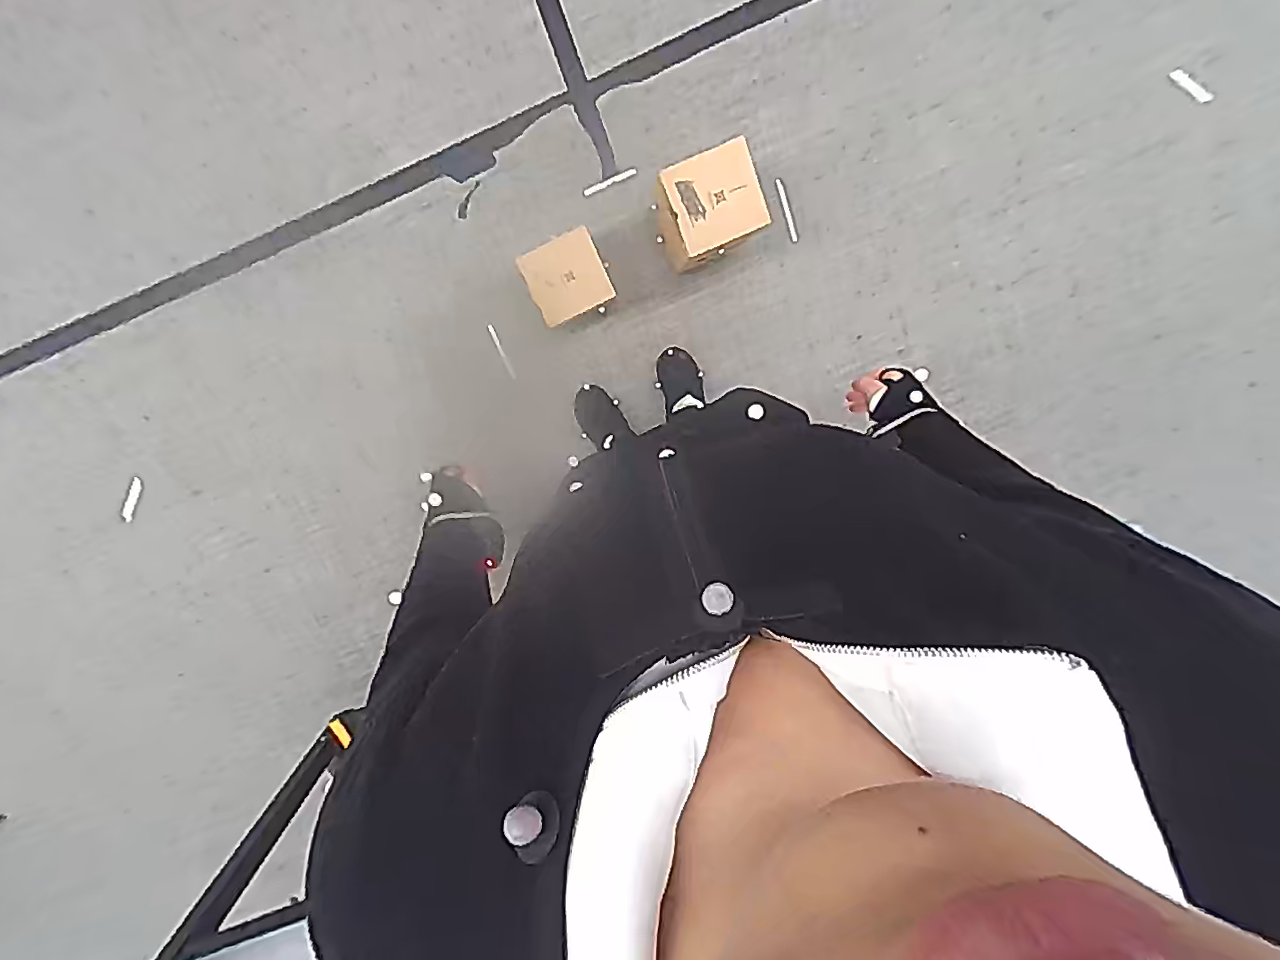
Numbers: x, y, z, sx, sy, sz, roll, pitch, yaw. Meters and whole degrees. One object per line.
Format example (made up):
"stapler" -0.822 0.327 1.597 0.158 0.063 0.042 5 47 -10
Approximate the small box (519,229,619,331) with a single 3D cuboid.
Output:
"small box" -0.163 -0.470 1.287 0.179 0.176 0.168 -25 105 5

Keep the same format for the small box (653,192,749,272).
"small box" 0.138 -0.600 1.269 0.168 0.176 0.179 -21 107 3

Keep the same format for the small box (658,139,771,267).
"small box" 0.142 -0.555 1.110 0.179 0.176 0.168 -22 105 2
